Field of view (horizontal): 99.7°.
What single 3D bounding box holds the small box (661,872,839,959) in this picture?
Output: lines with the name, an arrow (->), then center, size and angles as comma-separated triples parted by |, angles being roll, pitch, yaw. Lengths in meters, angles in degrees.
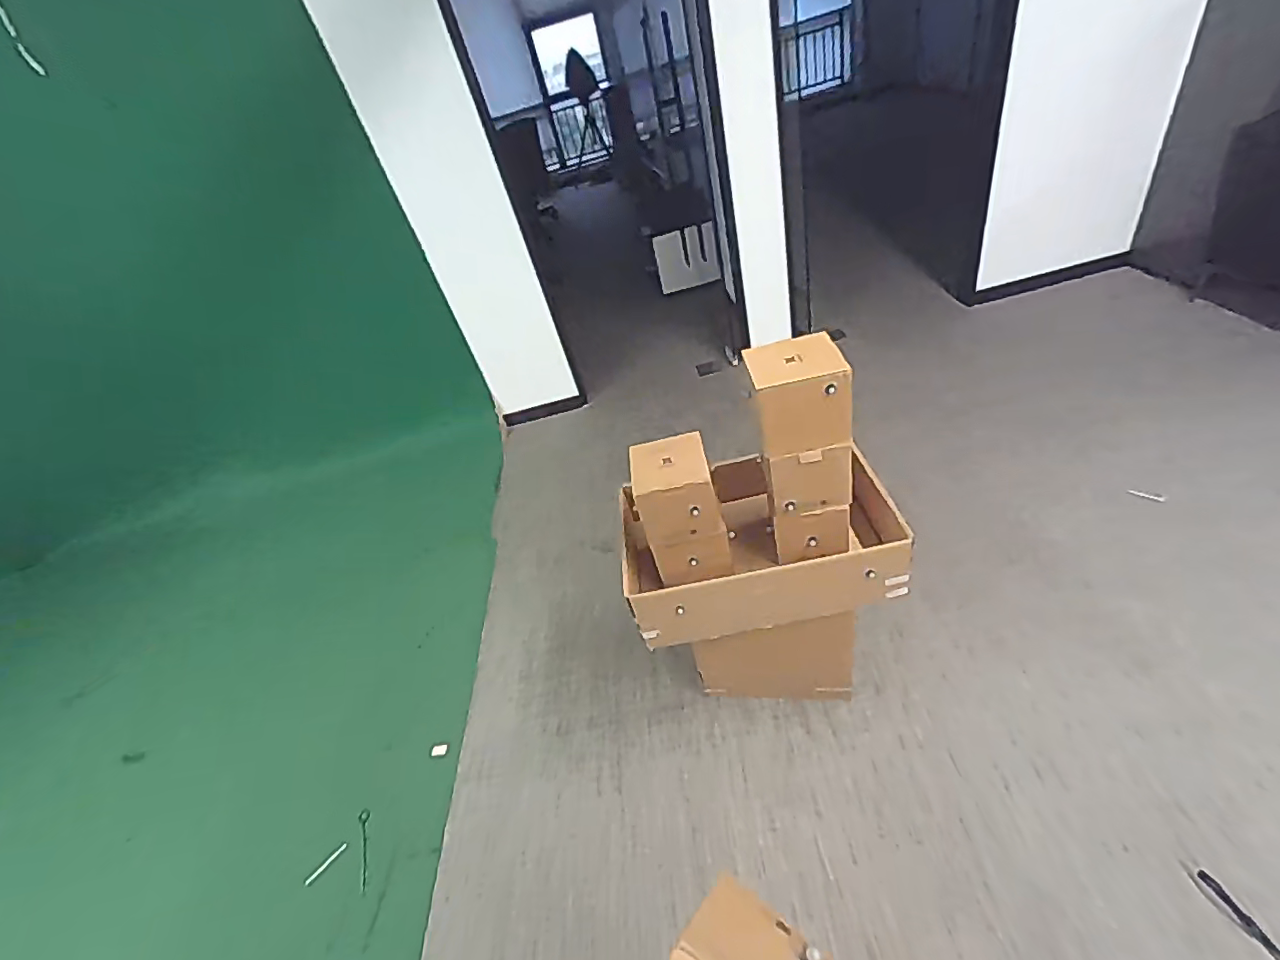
small box -> 0.072, 0.432, 0.380 | 0.168, 0.176, 0.179 | 27, 80, 27

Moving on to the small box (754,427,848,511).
small box -> 0.355, -0.046, 1.197 | 0.168, 0.176, 0.179 | -11, 38, 8

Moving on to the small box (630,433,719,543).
small box -> 0.077, 0.024, 1.215 | 0.168, 0.176, 0.179 | -12, 38, 6

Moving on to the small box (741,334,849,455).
small box -> 0.313, -0.169, 1.097 | 0.179, 0.176, 0.168 | -11, 39, 7
